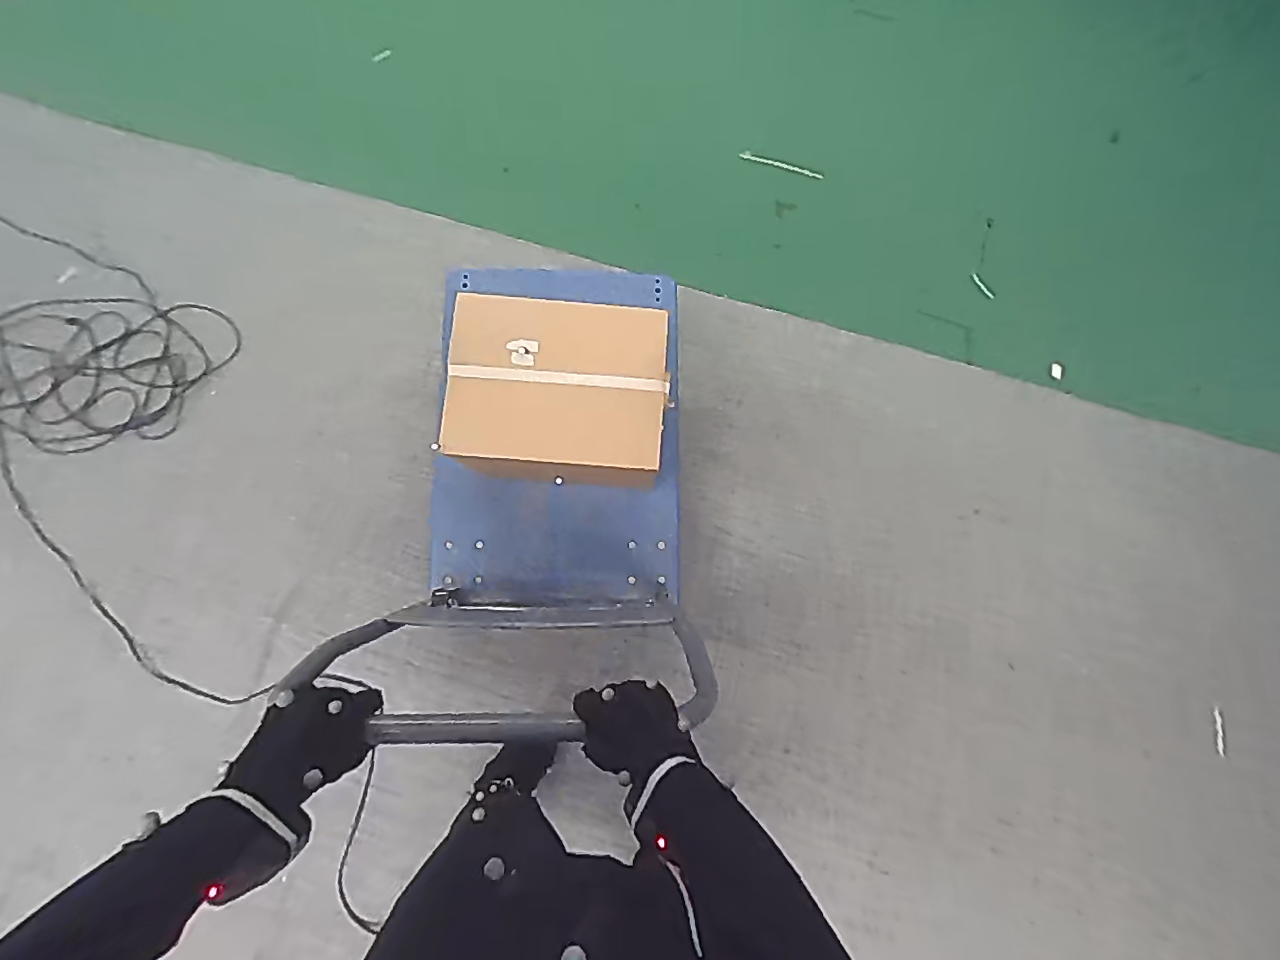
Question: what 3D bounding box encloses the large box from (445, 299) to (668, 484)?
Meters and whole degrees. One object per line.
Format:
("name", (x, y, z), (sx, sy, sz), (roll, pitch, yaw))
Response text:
("large box", (-0.153, -0.164, 1.155), (0.408, 0.320, 0.320), (4, 82, -1))
